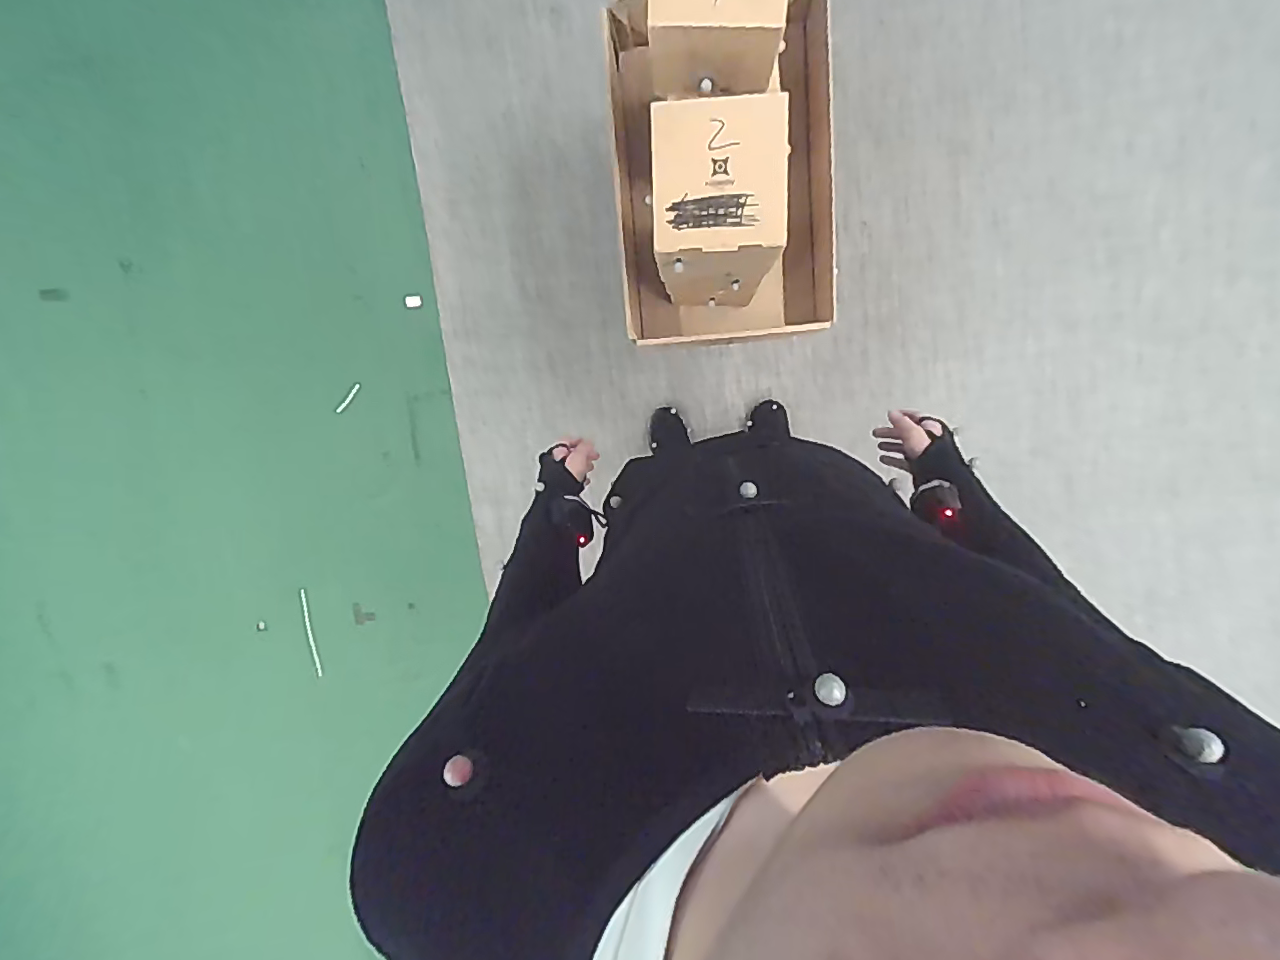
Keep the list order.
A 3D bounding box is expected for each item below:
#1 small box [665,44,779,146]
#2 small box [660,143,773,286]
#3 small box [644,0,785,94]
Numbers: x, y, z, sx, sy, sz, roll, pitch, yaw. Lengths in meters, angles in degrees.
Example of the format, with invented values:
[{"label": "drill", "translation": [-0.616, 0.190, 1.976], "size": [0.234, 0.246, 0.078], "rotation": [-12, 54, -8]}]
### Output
[{"label": "small box", "translation": [0.120, -0.664, 0.857], "size": [0.168, 0.176, 0.179], "rotation": [-5, 100, 6]}, {"label": "small box", "translation": [0.122, -0.423, 0.890], "size": [0.168, 0.176, 0.179], "rotation": [1, 98, 5]}, {"label": "small box", "translation": [0.098, -0.639, 0.696], "size": [0.168, 0.176, 0.179], "rotation": [5, 102, 5]}]
